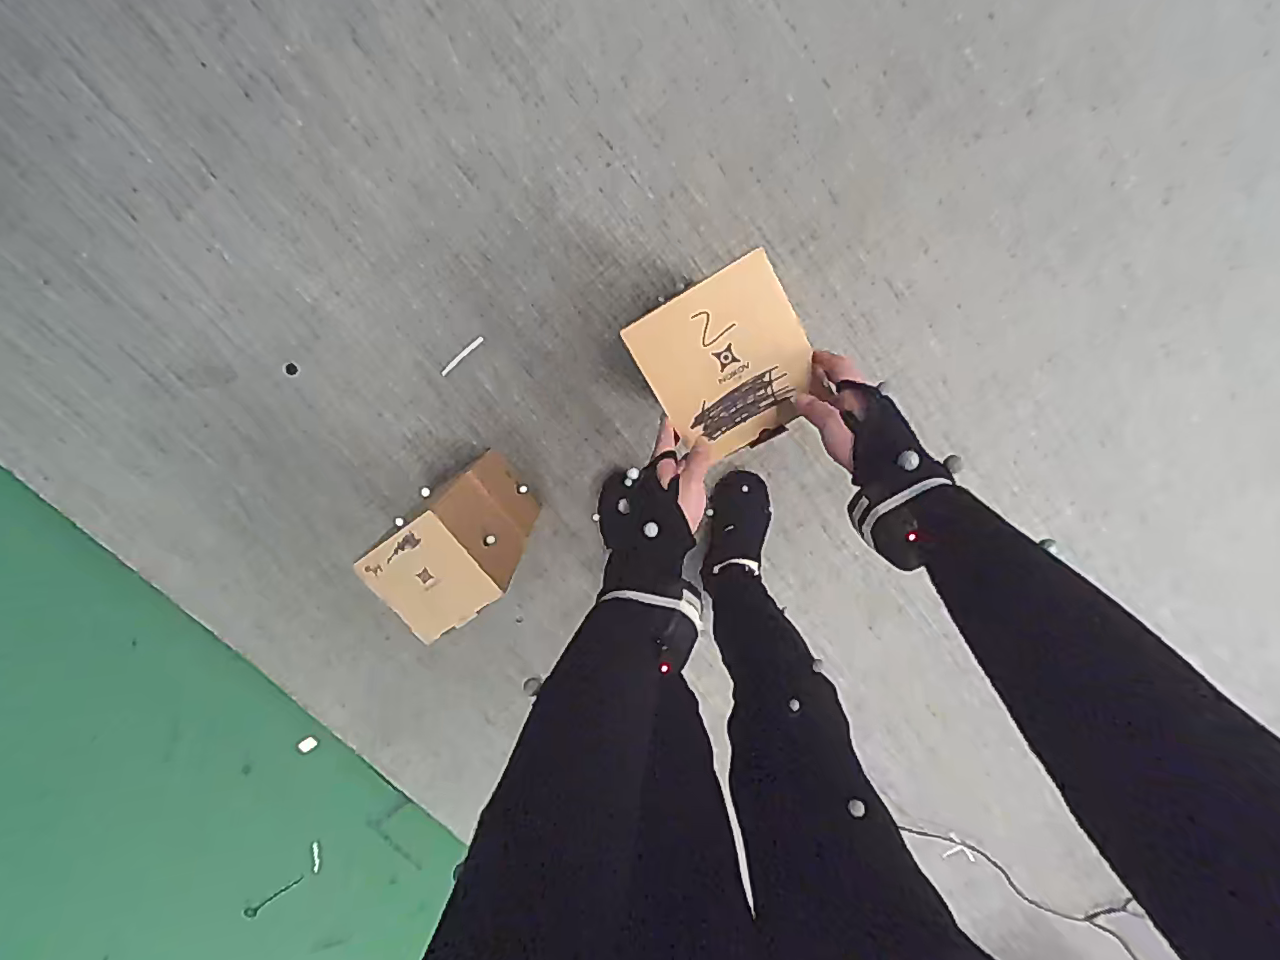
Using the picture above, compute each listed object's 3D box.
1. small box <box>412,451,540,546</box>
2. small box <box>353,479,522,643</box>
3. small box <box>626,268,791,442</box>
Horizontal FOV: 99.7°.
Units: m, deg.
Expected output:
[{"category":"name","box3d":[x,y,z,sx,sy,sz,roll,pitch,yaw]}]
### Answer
[{"category":"small box","box3d":[-0.318,0.070,1.052,0.179,0.176,0.168,-33,106,9]},{"category":"small box","box3d":[-0.319,0.127,0.899,0.168,0.176,0.179,-33,106,10]},{"category":"small box","box3d":[0.091,-0.184,0.800,0.168,0.176,0.179,-32,106,9]}]
